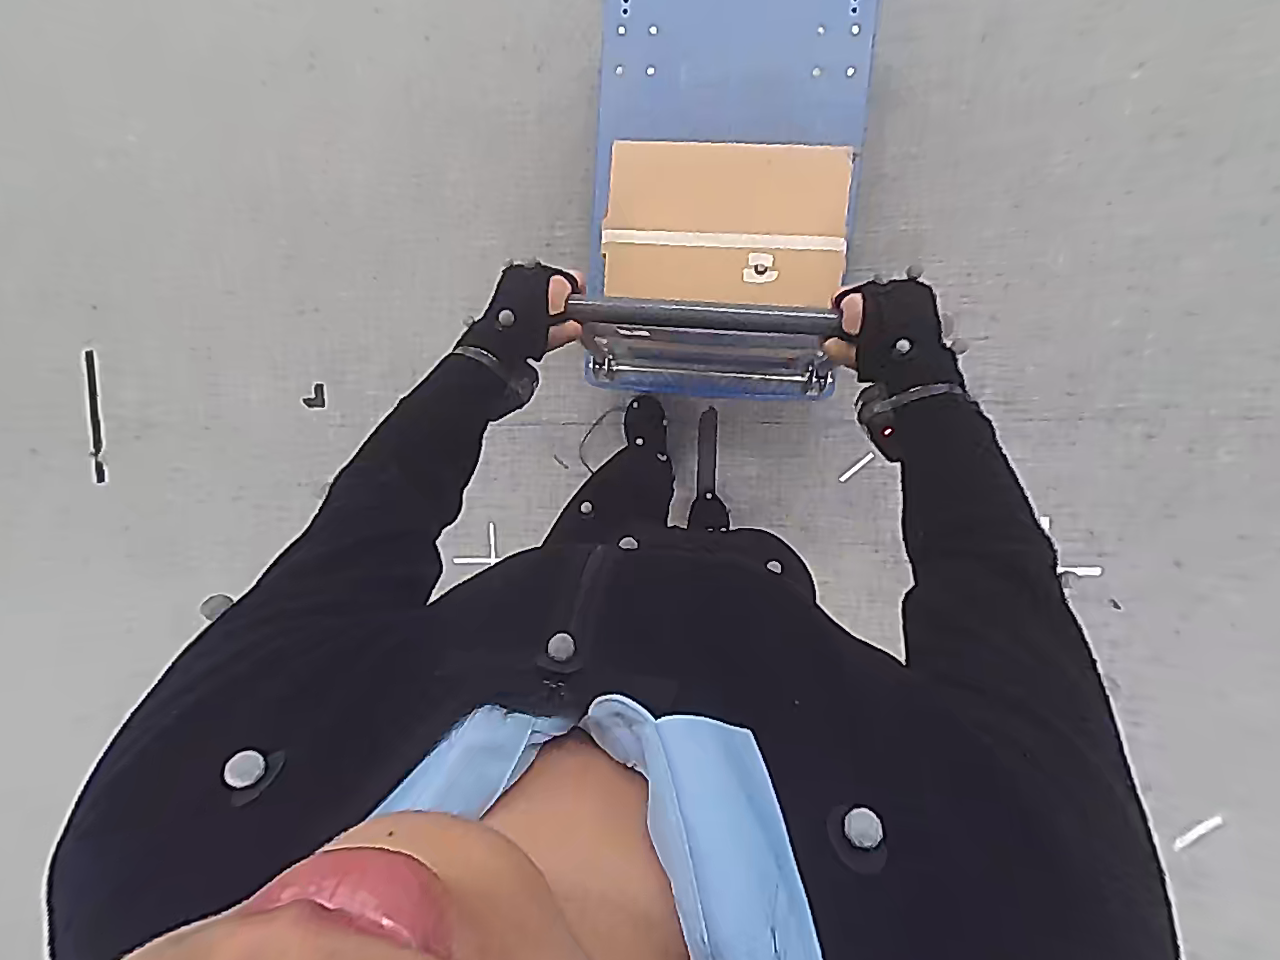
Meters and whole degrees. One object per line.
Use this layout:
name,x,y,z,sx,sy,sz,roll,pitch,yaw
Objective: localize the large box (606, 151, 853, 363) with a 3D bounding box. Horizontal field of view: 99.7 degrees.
large box,0.154,-0.408,1.061,0.408,0.320,0.320,4,98,4
